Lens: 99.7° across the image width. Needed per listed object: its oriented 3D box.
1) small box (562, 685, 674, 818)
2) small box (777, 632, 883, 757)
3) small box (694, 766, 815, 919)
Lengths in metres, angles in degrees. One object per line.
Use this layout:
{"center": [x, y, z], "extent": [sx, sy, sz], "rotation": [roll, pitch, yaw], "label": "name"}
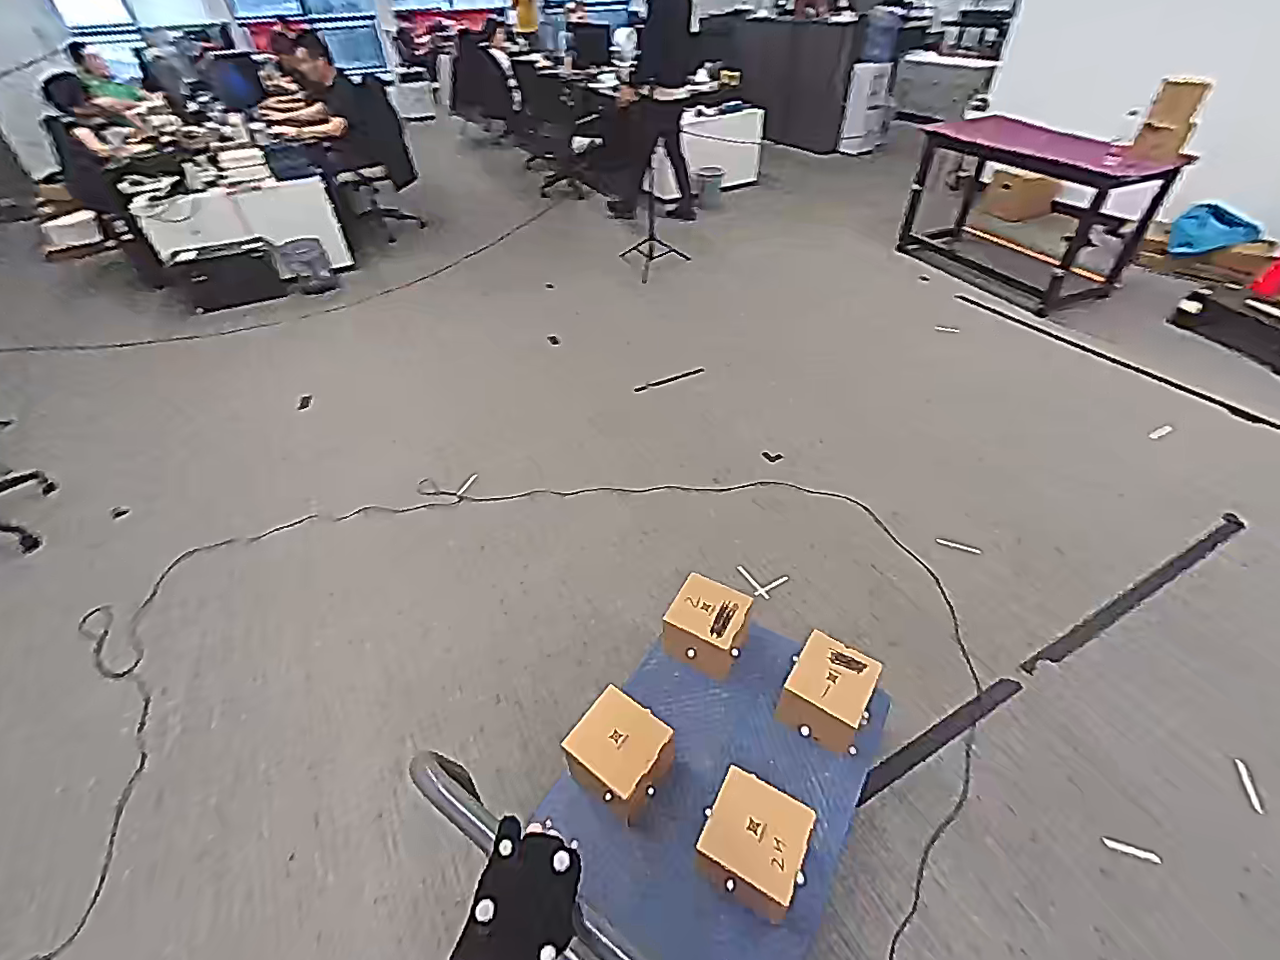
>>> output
{"center": [-0.046, 0.592, 1.173], "extent": [0.179, 0.176, 0.168], "rotation": [28, 50, 26], "label": "small box"}
{"center": [0.433, 0.497, 1.255], "extent": [0.168, 0.176, 0.179], "rotation": [25, 51, 26], "label": "small box"}
{"center": [0.214, 0.702, 1.044], "extent": [0.179, 0.176, 0.168], "rotation": [21, 48, 23], "label": "small box"}
